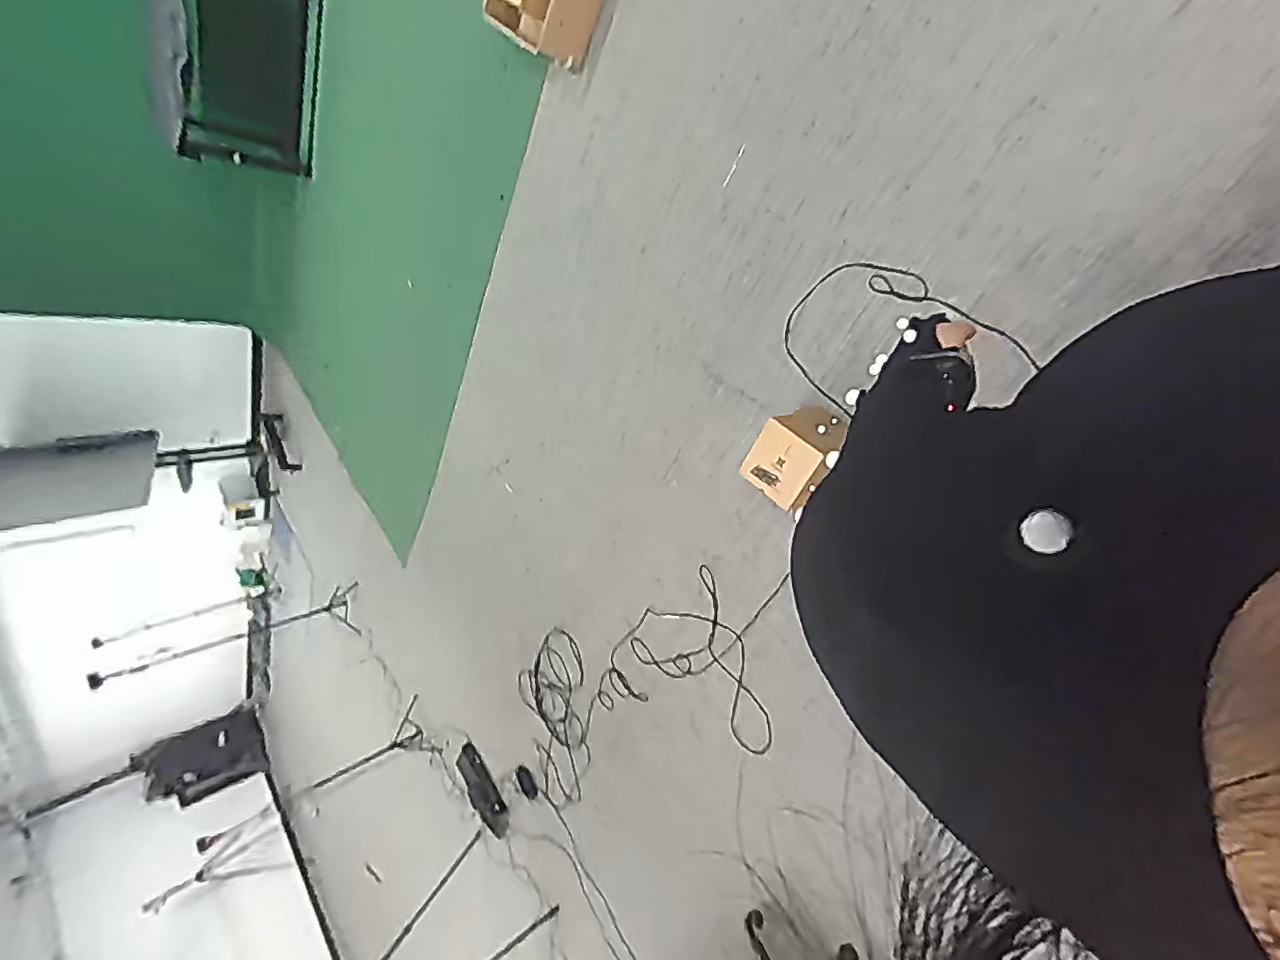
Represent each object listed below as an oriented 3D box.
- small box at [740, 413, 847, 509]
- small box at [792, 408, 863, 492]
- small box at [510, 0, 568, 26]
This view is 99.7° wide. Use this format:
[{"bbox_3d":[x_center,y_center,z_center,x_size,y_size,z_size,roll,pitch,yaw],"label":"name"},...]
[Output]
[{"bbox_3d":[0.392,-0.055,1.371,0.168,0.176,0.179,43,124,27],"label":"small box"},{"bbox_3d":[0.489,-0.088,1.499,0.168,0.176,0.179,40,124,30],"label":"small box"},{"bbox_3d":[-0.359,-1.715,1.864,0.179,0.176,0.168,44,124,25],"label":"small box"}]
